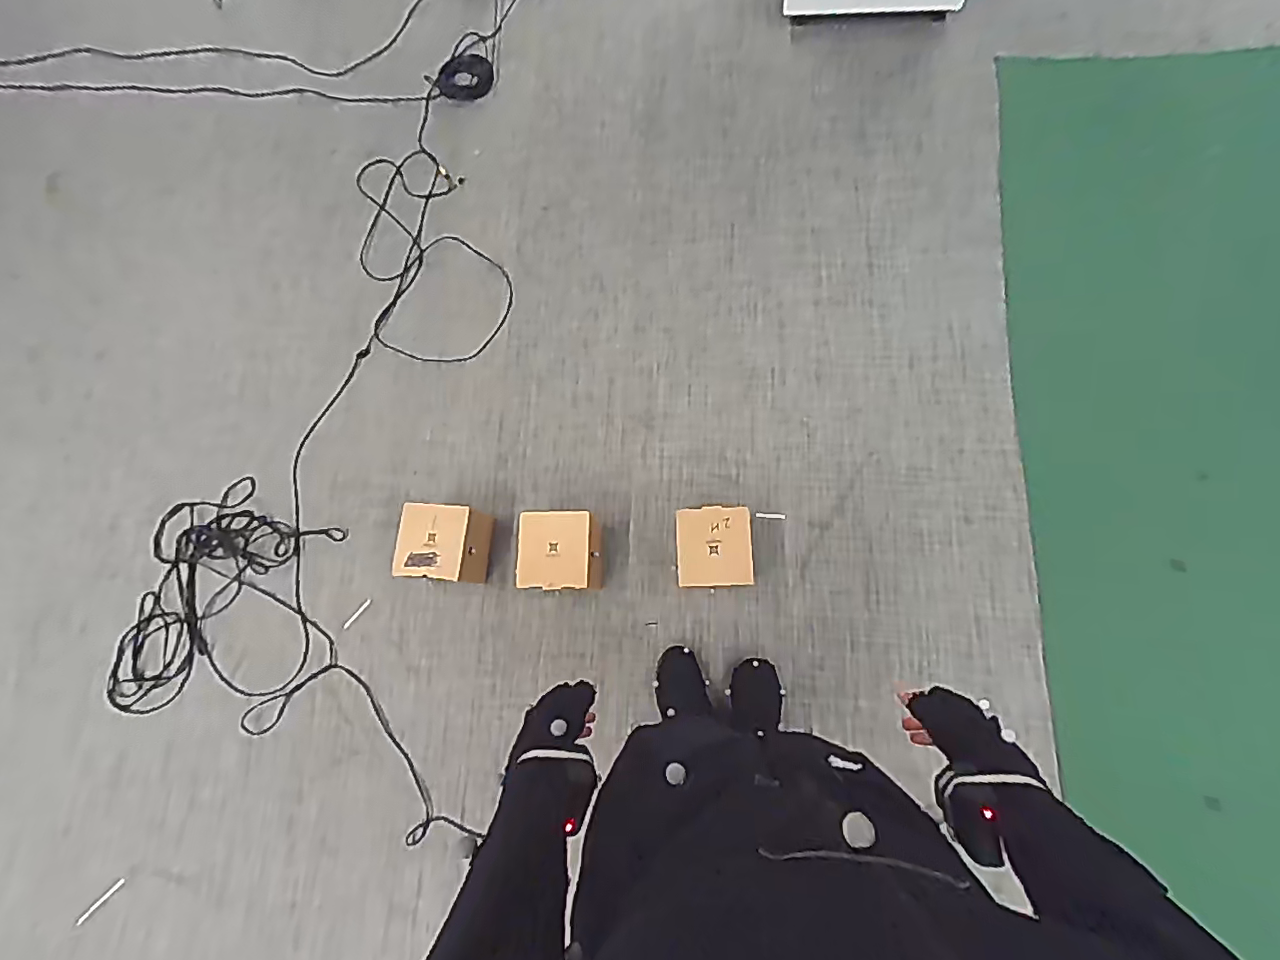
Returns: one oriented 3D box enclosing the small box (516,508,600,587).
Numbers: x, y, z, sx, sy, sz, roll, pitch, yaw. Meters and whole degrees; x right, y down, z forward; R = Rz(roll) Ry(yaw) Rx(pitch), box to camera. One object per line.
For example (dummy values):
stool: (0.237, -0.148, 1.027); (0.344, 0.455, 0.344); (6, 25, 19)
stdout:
small box: (-0.193, 0.168, 1.315); (0.168, 0.176, 0.179); (-1, 78, 5)

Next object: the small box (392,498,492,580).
small box: (-0.481, 0.152, 1.344); (0.168, 0.176, 0.179); (4, 77, 6)

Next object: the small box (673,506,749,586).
small box: (0.166, 0.160, 1.282); (0.168, 0.176, 0.179); (-2, 78, 4)
